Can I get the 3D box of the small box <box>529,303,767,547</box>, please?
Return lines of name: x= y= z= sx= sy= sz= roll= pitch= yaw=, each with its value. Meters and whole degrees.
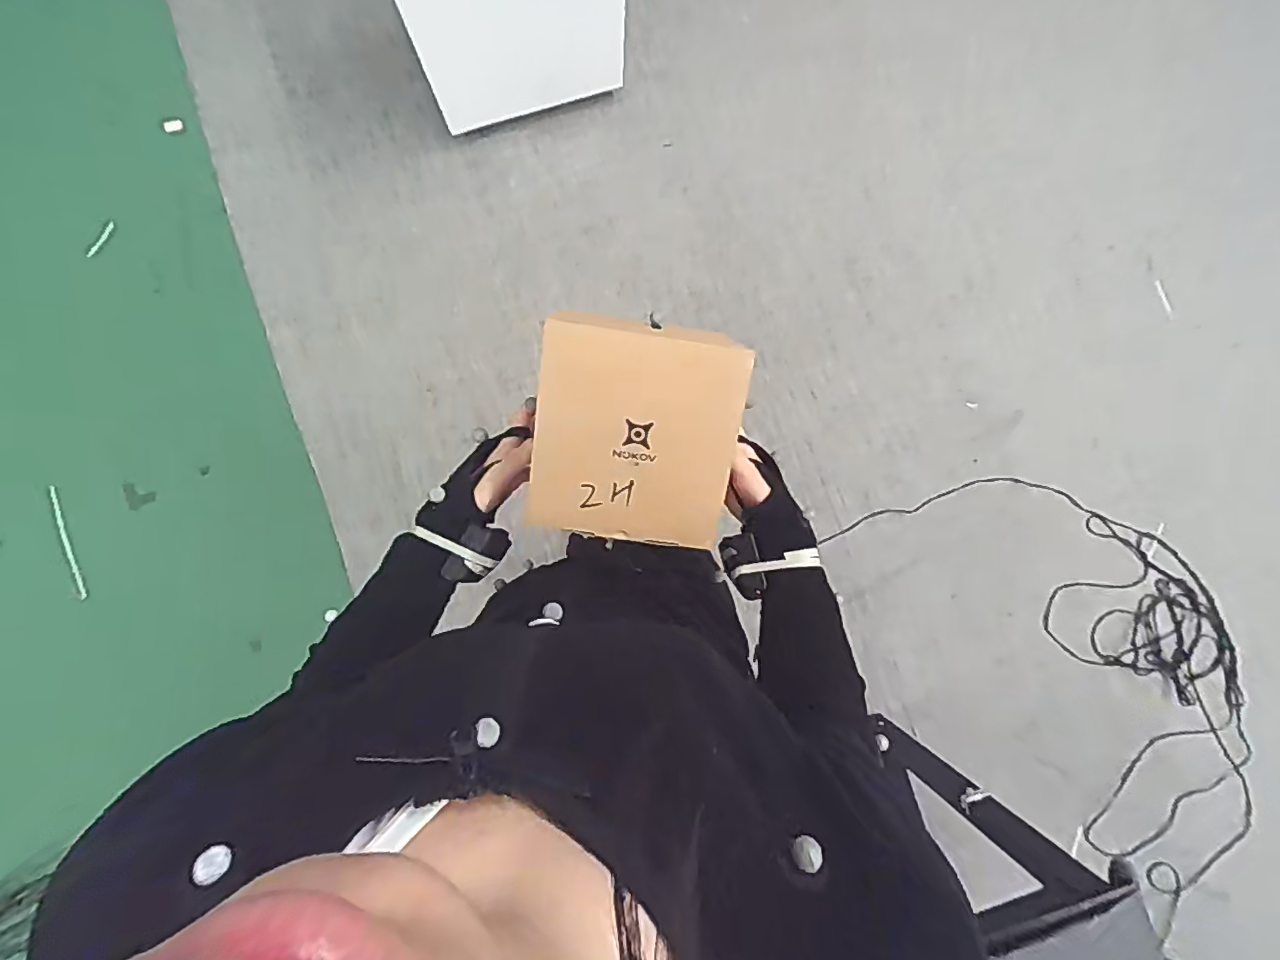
small box: x=0.000 y=-0.061 z=0.500 sx=0.168 sy=0.176 sz=0.179 roll=9 pitch=108 yaw=-4
